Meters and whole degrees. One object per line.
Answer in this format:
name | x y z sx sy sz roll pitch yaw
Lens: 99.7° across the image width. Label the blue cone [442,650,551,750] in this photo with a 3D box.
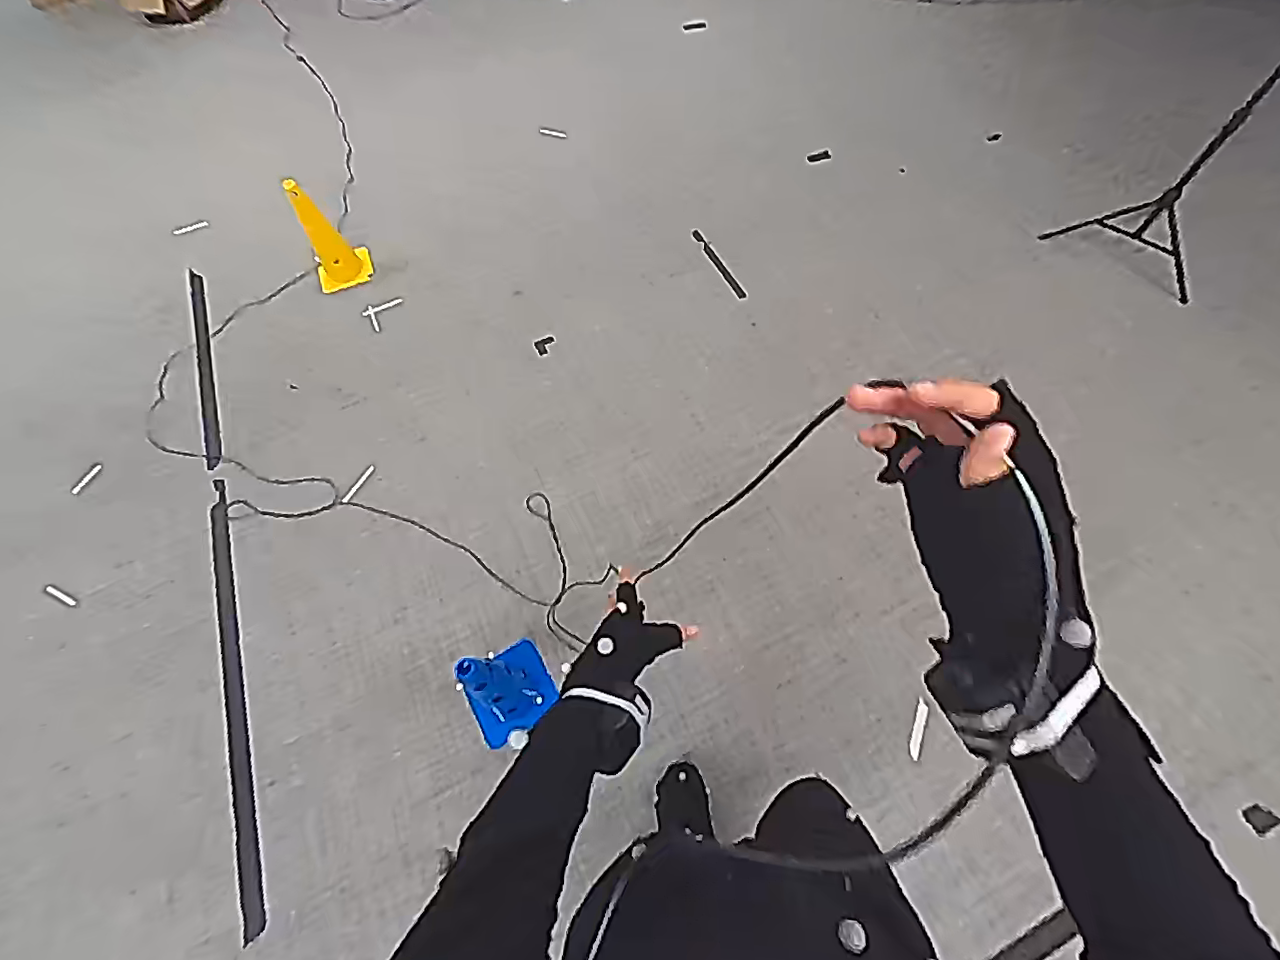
blue cone | -0.339 0.462 1.193 0.192 0.380 0.193 -29 64 -11
